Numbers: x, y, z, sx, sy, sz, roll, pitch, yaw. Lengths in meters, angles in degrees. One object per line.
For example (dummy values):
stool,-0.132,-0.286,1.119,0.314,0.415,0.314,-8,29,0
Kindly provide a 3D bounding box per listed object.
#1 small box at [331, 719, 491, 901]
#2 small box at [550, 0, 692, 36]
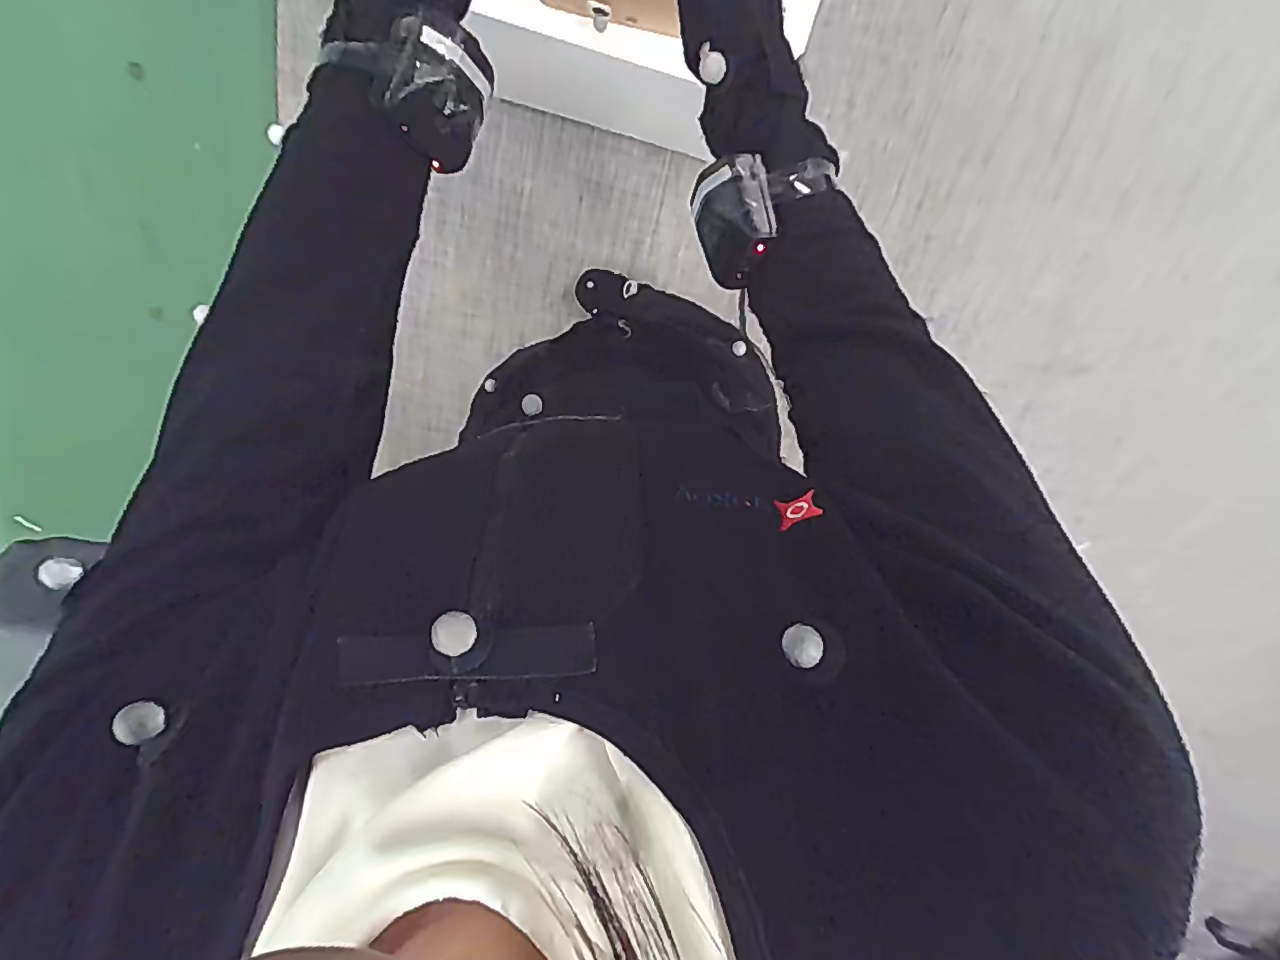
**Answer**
small box,-0.342,0.499,0.832,0.179,0.176,0.168,15,114,-6
small box,-0.016,-0.559,0.501,0.168,0.176,0.179,9,115,-2
